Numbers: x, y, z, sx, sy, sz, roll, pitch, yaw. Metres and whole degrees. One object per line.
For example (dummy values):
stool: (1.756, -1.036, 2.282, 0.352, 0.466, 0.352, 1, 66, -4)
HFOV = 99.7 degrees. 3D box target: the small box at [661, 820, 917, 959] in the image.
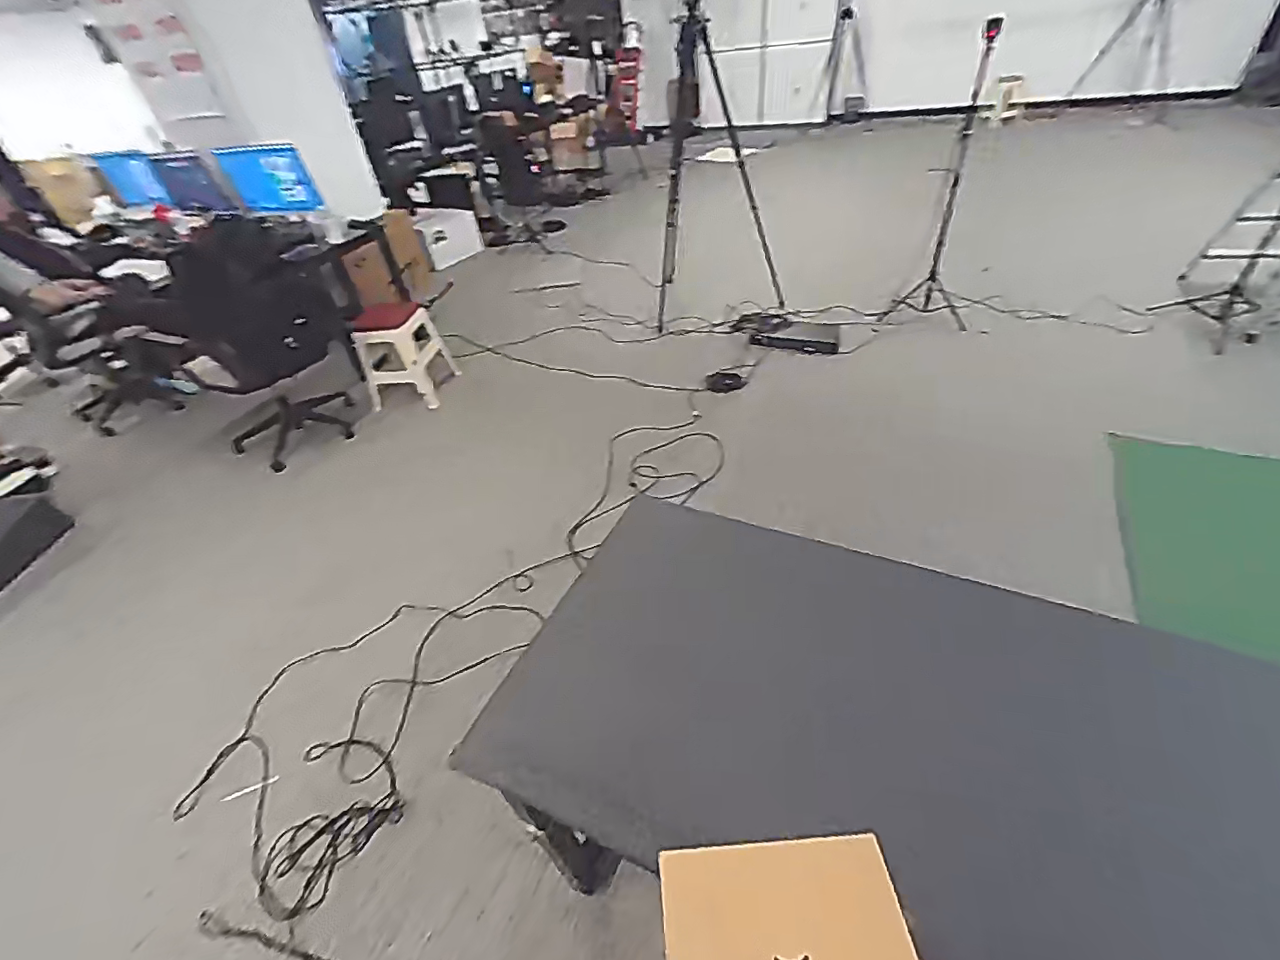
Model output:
small box: (0.103, 0.379, 0.392, 0.168, 0.176, 0.179, -5, 37, 3)
